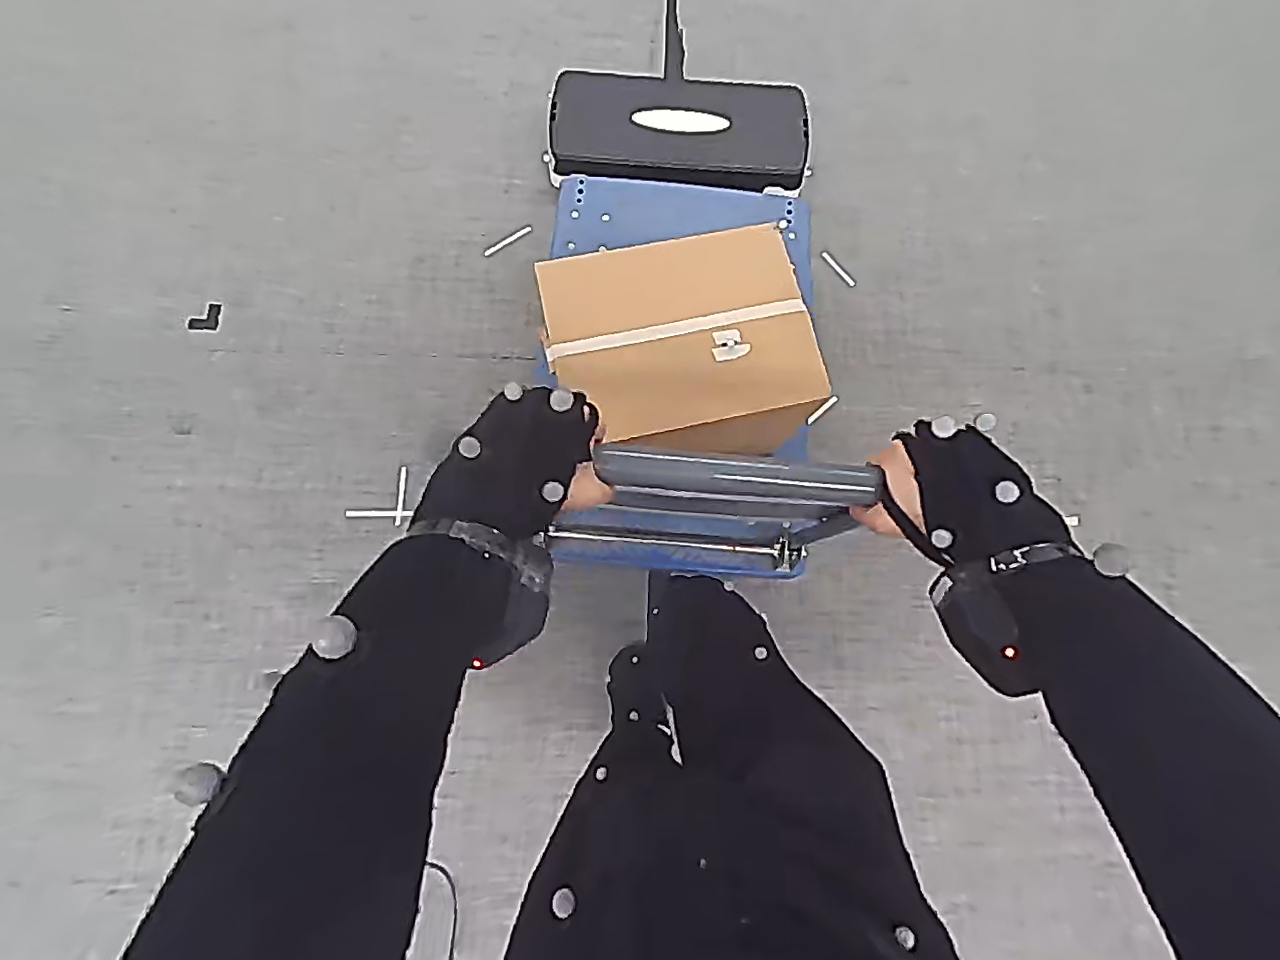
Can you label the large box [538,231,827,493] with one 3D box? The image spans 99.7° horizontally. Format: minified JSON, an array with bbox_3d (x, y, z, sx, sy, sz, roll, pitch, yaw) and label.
[{"bbox_3d":[0.054,-0.192,0.987,0.408,0.320,0.320,-12,79,-6],"label":"large box"}]
